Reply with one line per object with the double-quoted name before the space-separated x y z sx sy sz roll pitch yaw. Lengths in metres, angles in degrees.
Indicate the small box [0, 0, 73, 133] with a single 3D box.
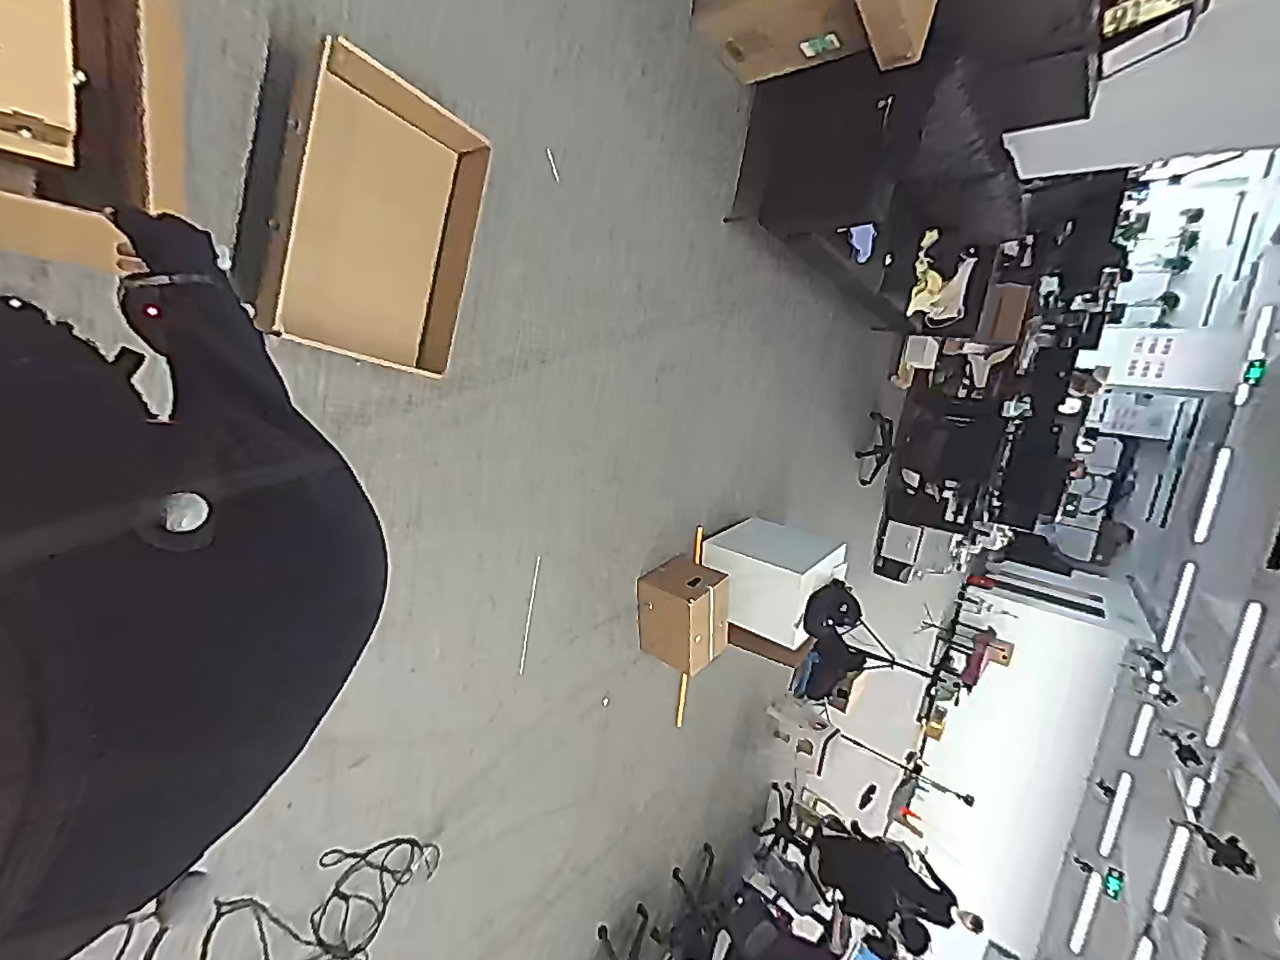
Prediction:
"small box" -0.879 -0.591 0.716 0.168 0.176 0.179 -6 108 -50
